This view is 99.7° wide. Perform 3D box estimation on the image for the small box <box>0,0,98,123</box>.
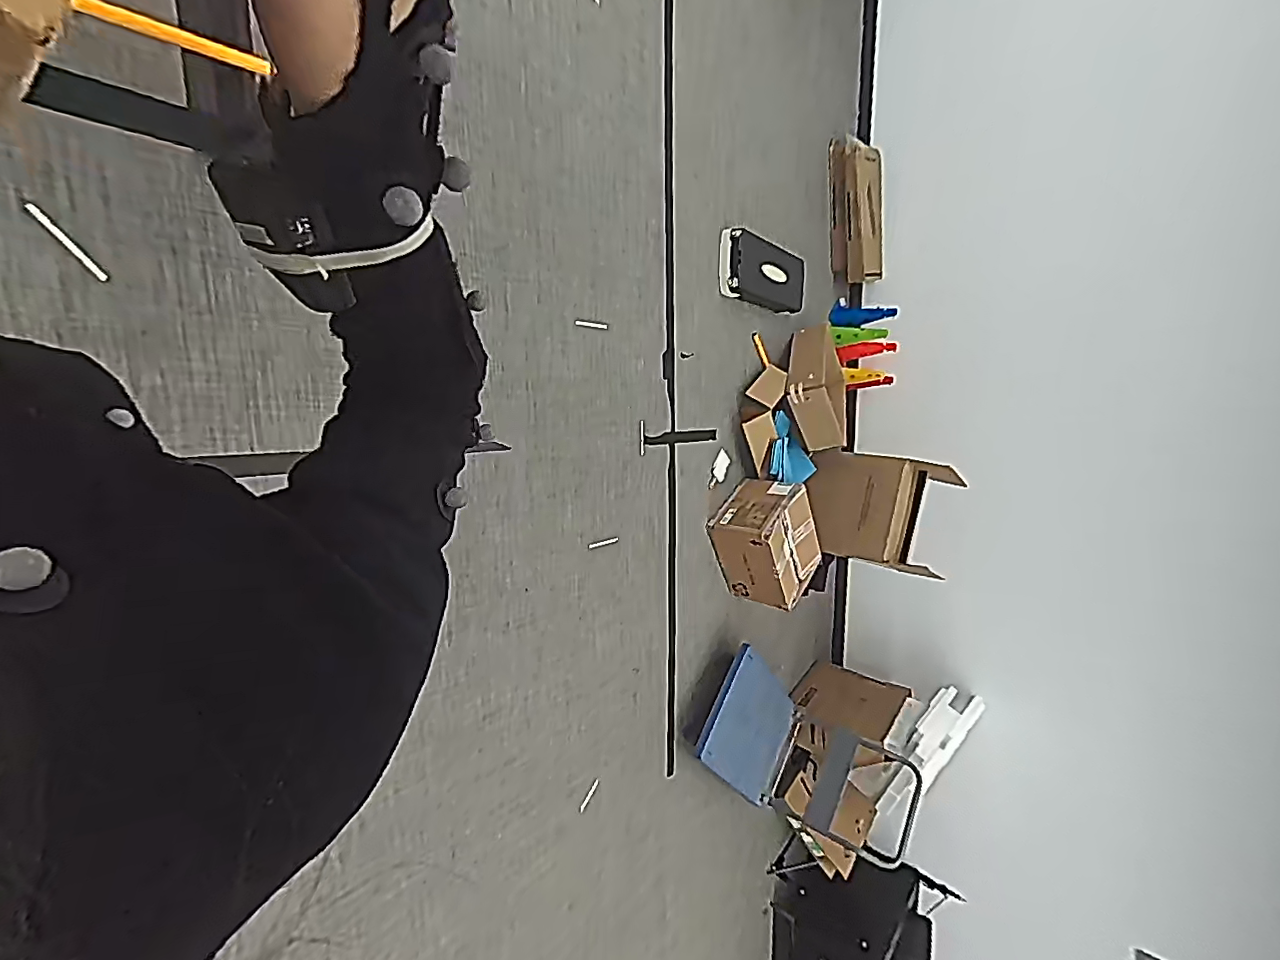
[{"bbox_3d":[-0.202,-0.215,0.112,0.168,0.176,0.179,30,79,-54],"label":"small box"}]
